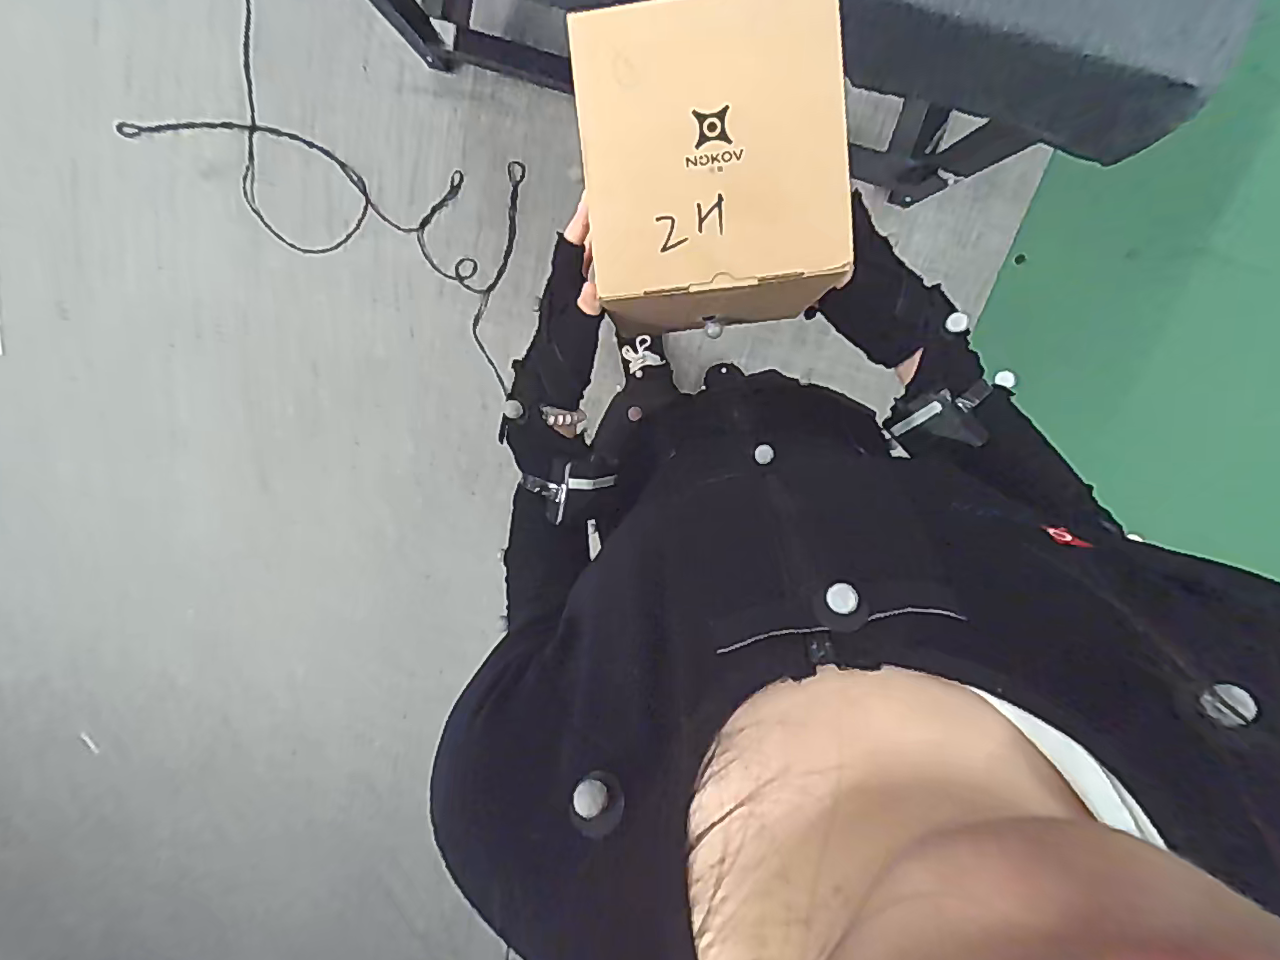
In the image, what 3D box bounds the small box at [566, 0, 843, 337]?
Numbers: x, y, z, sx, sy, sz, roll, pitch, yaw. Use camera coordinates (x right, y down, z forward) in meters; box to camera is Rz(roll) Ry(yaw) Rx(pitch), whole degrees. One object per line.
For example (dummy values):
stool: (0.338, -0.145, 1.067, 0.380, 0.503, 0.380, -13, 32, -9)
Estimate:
small box: (0.046, -0.217, 0.416, 0.168, 0.176, 0.179, -5, 96, 5)
